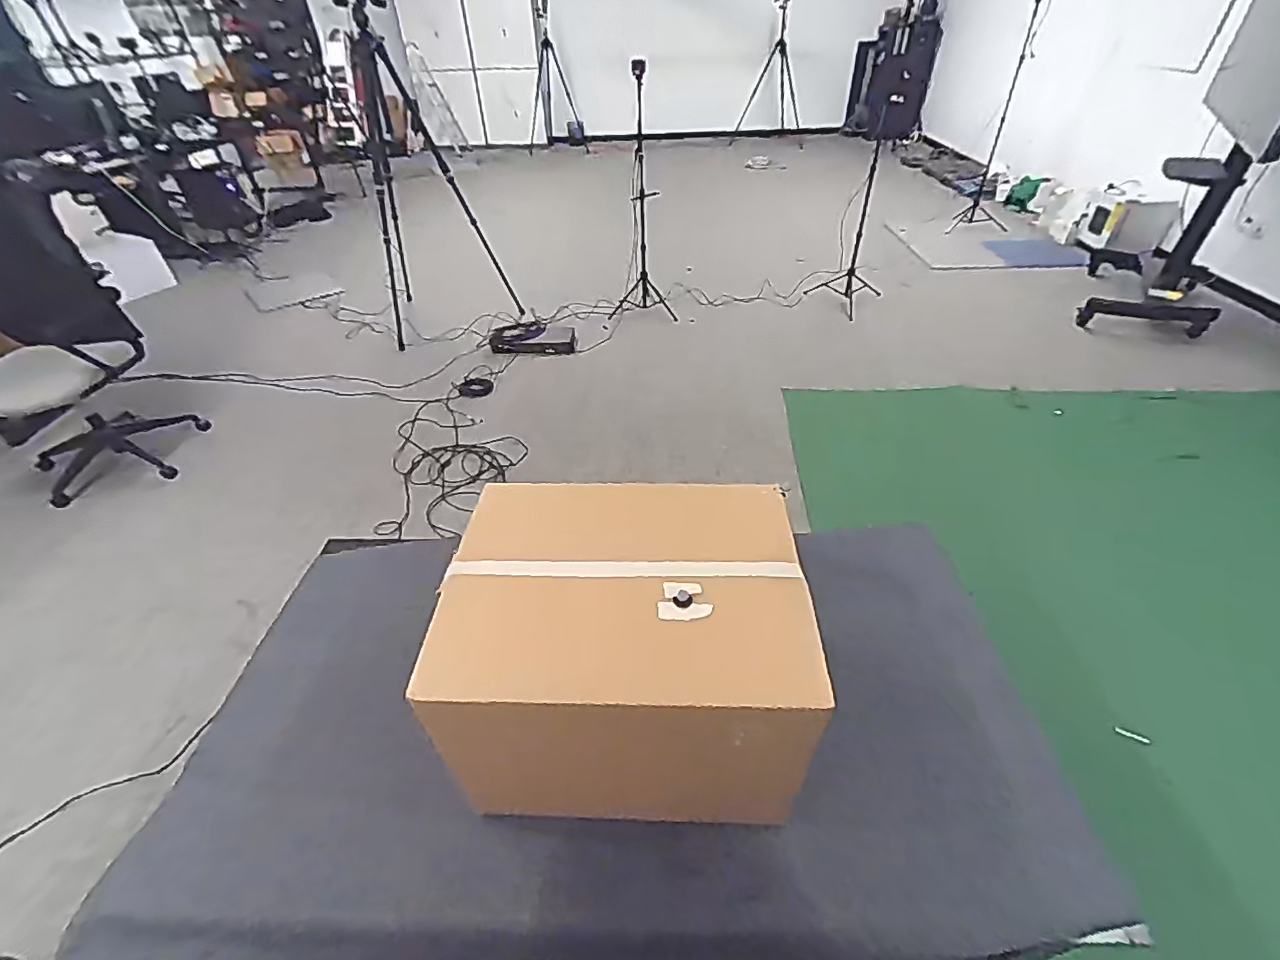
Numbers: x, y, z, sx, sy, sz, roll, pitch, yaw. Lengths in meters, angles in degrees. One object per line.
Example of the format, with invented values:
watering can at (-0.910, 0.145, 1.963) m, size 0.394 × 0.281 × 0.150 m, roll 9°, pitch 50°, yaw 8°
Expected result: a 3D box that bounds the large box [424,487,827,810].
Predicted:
large box at (-0.011, 0.223, 0.731) m, size 0.408 × 0.320 × 0.320 m, roll 0°, pitch 41°, yaw 2°
